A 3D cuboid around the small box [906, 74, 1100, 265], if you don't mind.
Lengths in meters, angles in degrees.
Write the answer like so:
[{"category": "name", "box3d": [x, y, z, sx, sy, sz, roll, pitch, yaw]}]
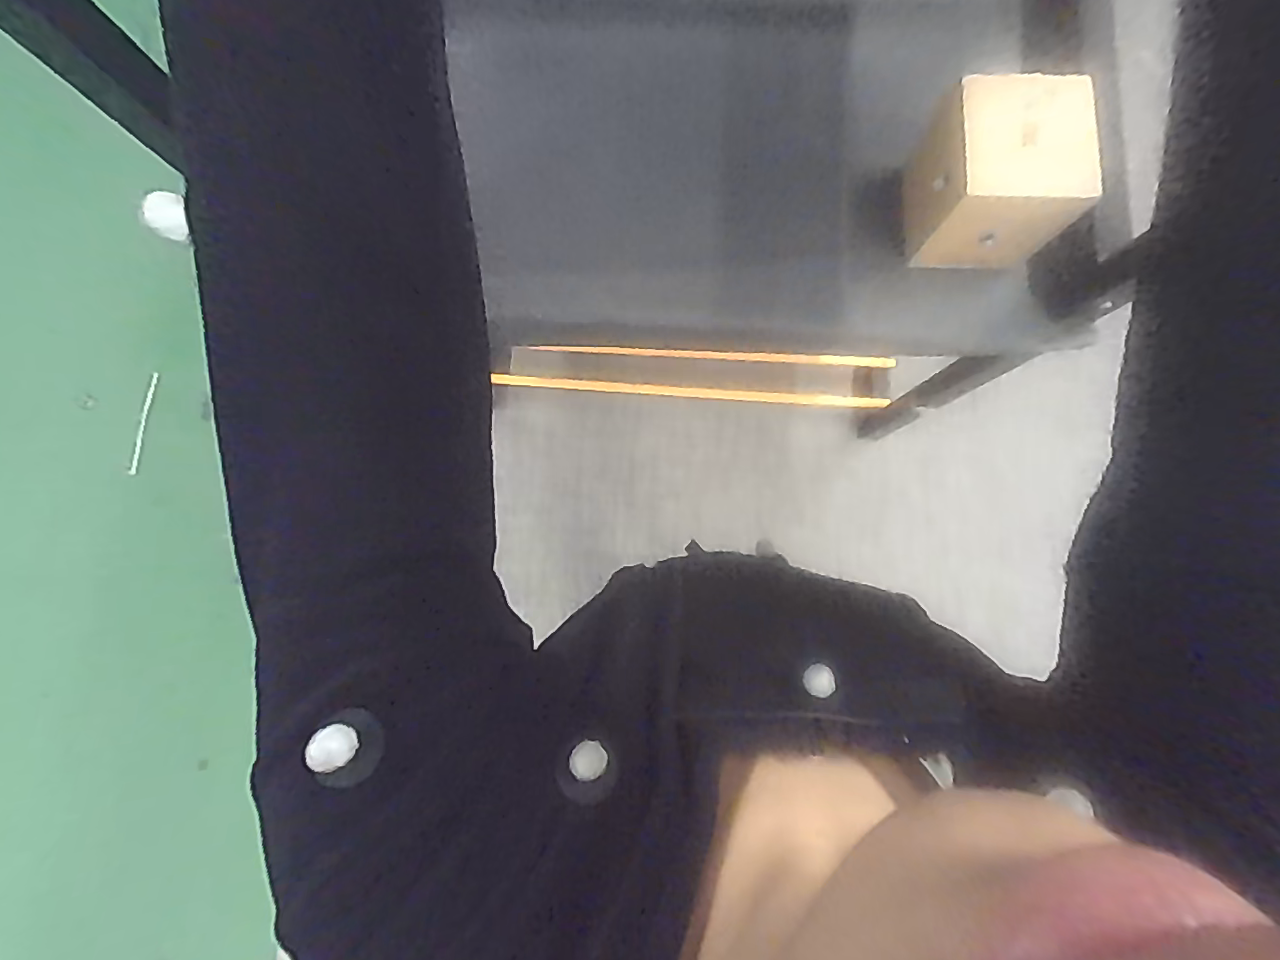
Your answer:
[{"category": "small box", "box3d": [0.493, -0.424, 0.760, 0.168, 0.176, 0.179, 2, 81, 2]}]
